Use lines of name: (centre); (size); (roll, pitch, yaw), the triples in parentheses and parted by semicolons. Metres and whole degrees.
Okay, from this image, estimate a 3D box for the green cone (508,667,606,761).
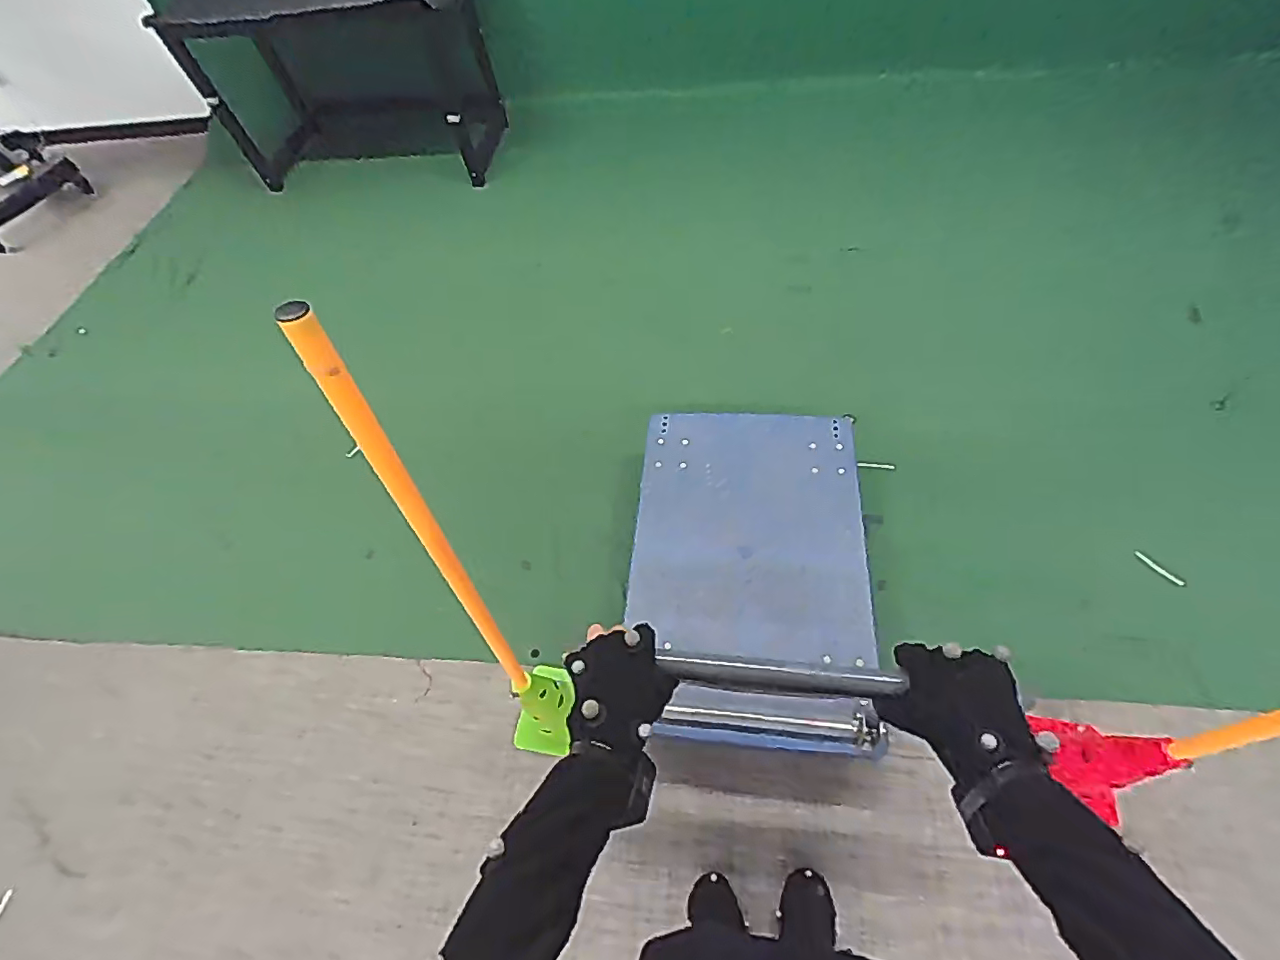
green cone: (-0.217, 0.494, 1.223); (0.202, 0.368, 0.200); (5, 58, 11)
